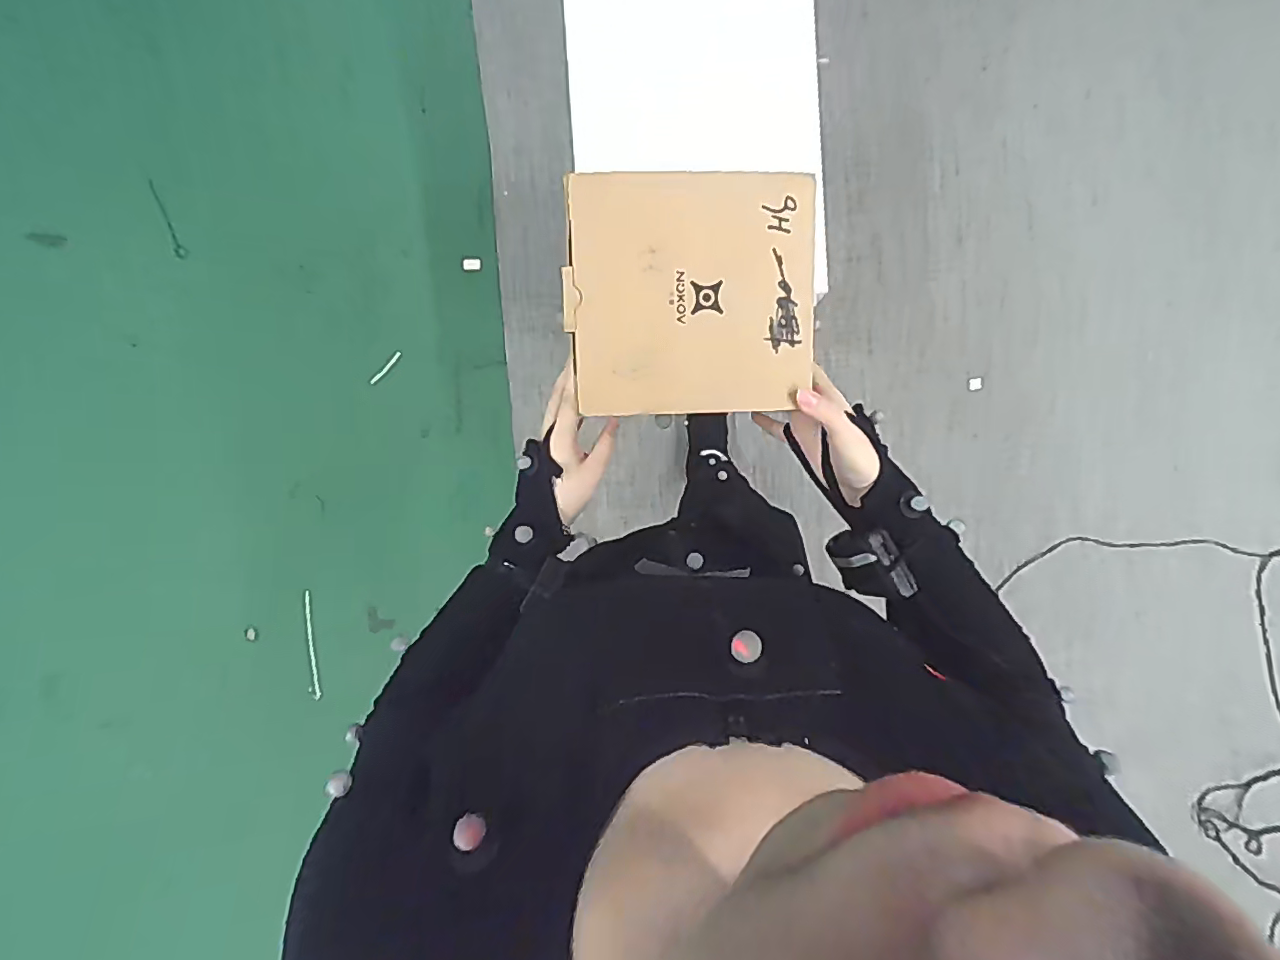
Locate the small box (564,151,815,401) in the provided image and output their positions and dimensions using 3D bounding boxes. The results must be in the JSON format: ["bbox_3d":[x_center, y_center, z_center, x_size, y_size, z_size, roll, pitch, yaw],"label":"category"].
[{"bbox_3d":[0.032,-0.153,0.459,0.179,0.176,0.168,-2,98,-4],"label":"small box"}]
